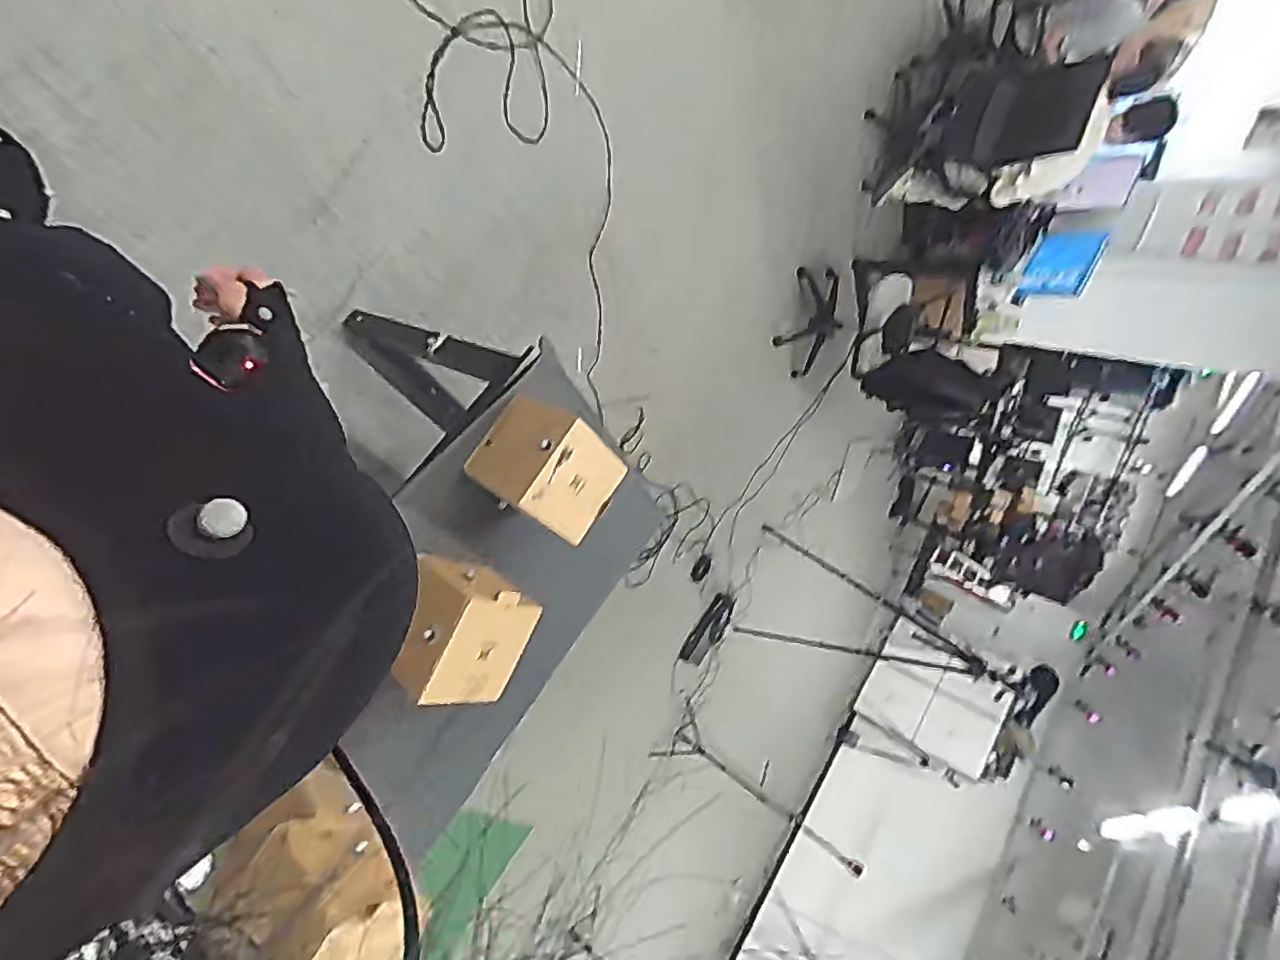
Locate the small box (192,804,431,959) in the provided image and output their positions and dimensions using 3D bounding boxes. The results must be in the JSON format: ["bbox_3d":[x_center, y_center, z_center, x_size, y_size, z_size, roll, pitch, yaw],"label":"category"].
[{"bbox_3d":[-0.411,0.548,0.676,0.179,0.176,0.168,-56,143,-16],"label":"small box"}]

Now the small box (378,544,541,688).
[{"bbox_3d":[-0.307,0.226,0.913,0.168,0.176,0.179,29,86,-53],"label":"small box"}]

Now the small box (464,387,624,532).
[{"bbox_3d":[-0.165,-0.040,0.944,0.168,0.176,0.179,-57,143,-11],"label":"small box"}]

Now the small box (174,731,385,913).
[{"bbox_3d":[-0.521,0.507,0.792,0.168,0.176,0.179,-44,138,-28],"label":"small box"}]
